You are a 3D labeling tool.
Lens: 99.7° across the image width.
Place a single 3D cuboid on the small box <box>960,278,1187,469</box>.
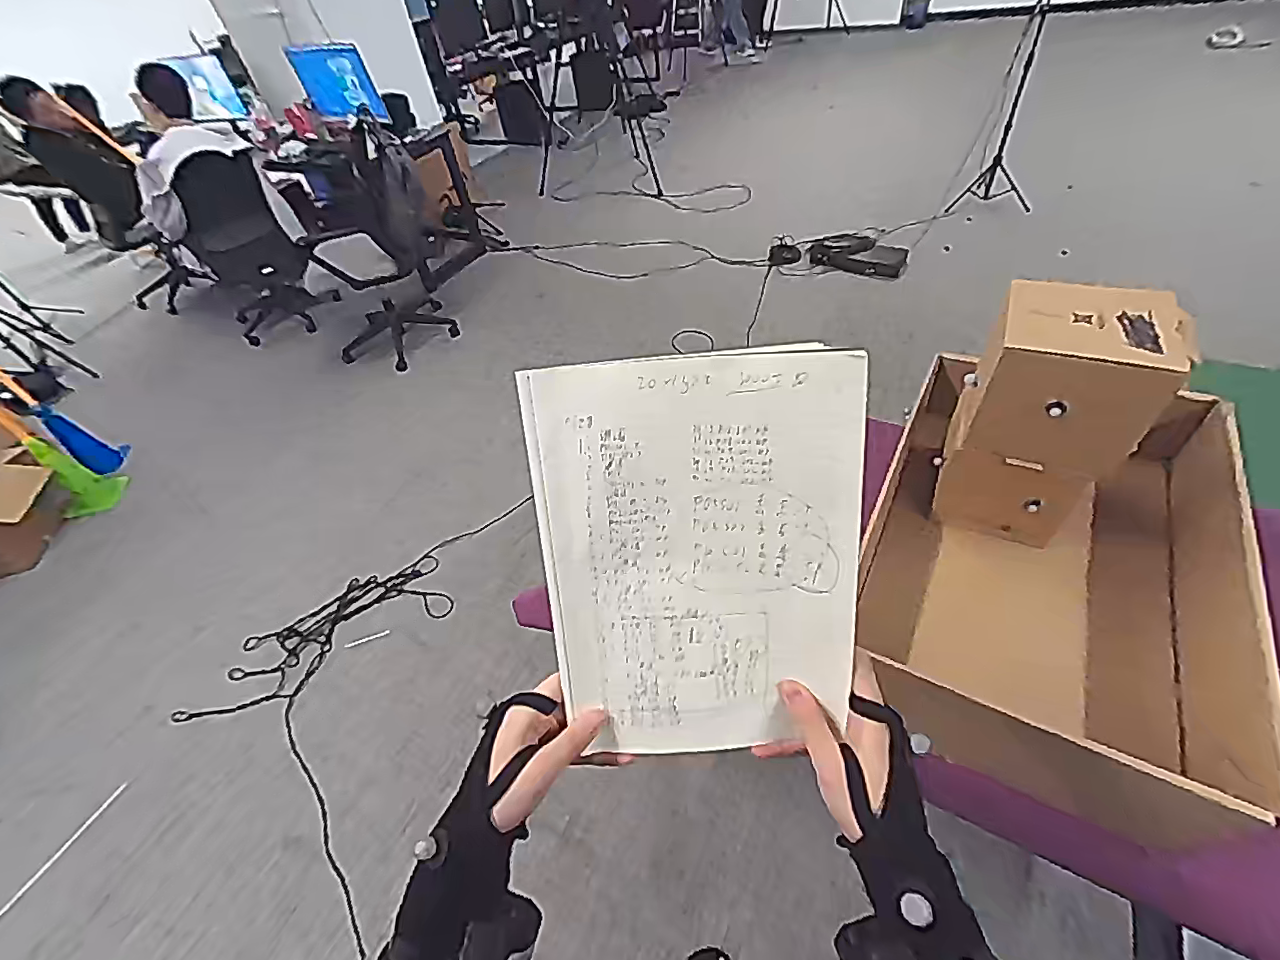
[{"bbox_3d":[0.548,-0.136,0.705,0.179,0.176,0.168,16,52,23],"label":"small box"}]
